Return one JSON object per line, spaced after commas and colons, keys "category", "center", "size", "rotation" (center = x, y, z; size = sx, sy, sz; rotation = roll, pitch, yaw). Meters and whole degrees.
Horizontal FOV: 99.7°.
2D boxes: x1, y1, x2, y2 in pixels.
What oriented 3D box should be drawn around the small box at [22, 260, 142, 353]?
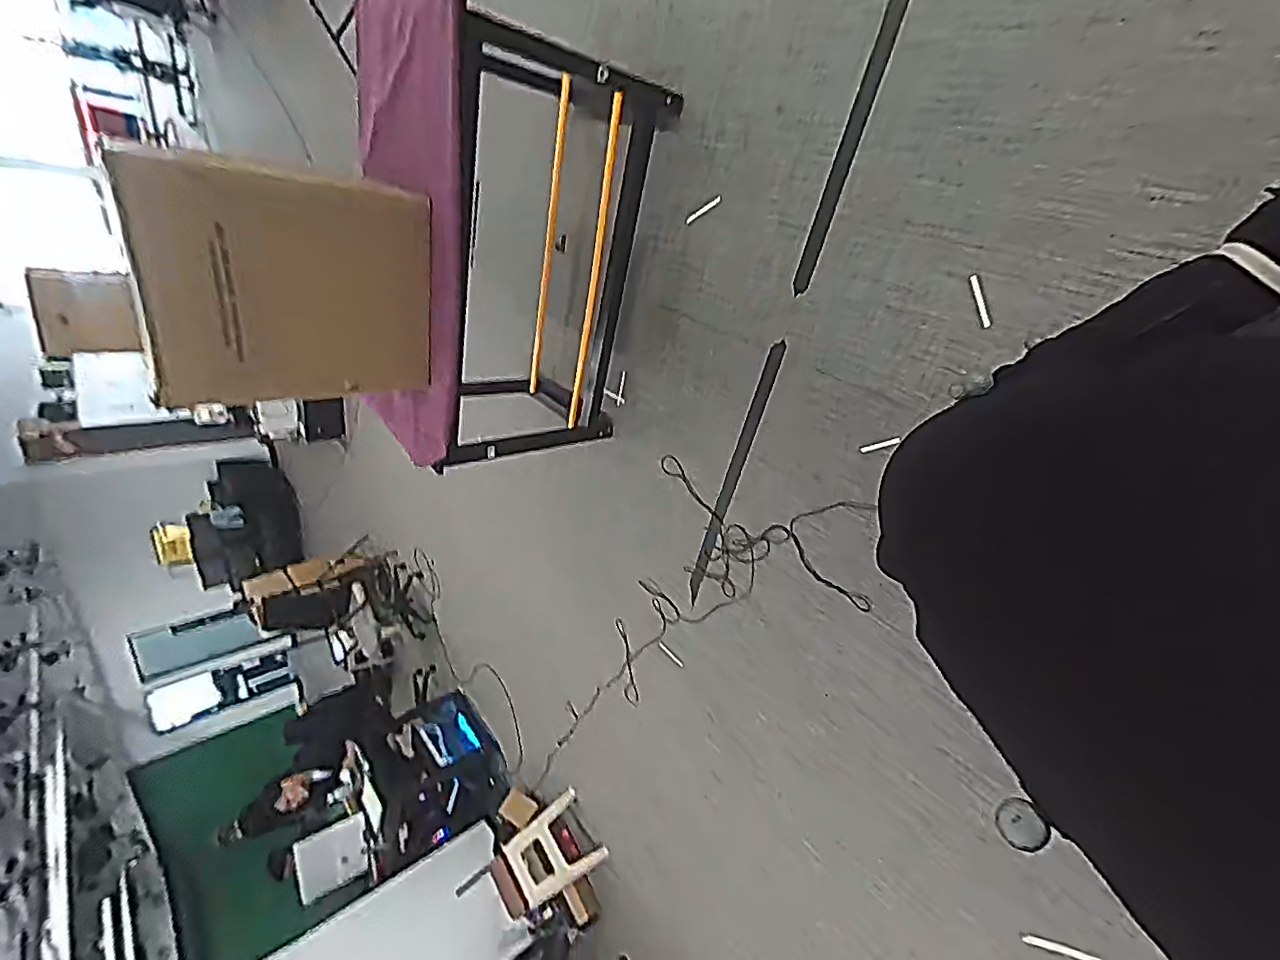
{"category": "small box", "center": [-1.311, -0.409, 1.280], "size": [0.168, 0.176, 0.179], "rotation": [32, 122, 38]}
